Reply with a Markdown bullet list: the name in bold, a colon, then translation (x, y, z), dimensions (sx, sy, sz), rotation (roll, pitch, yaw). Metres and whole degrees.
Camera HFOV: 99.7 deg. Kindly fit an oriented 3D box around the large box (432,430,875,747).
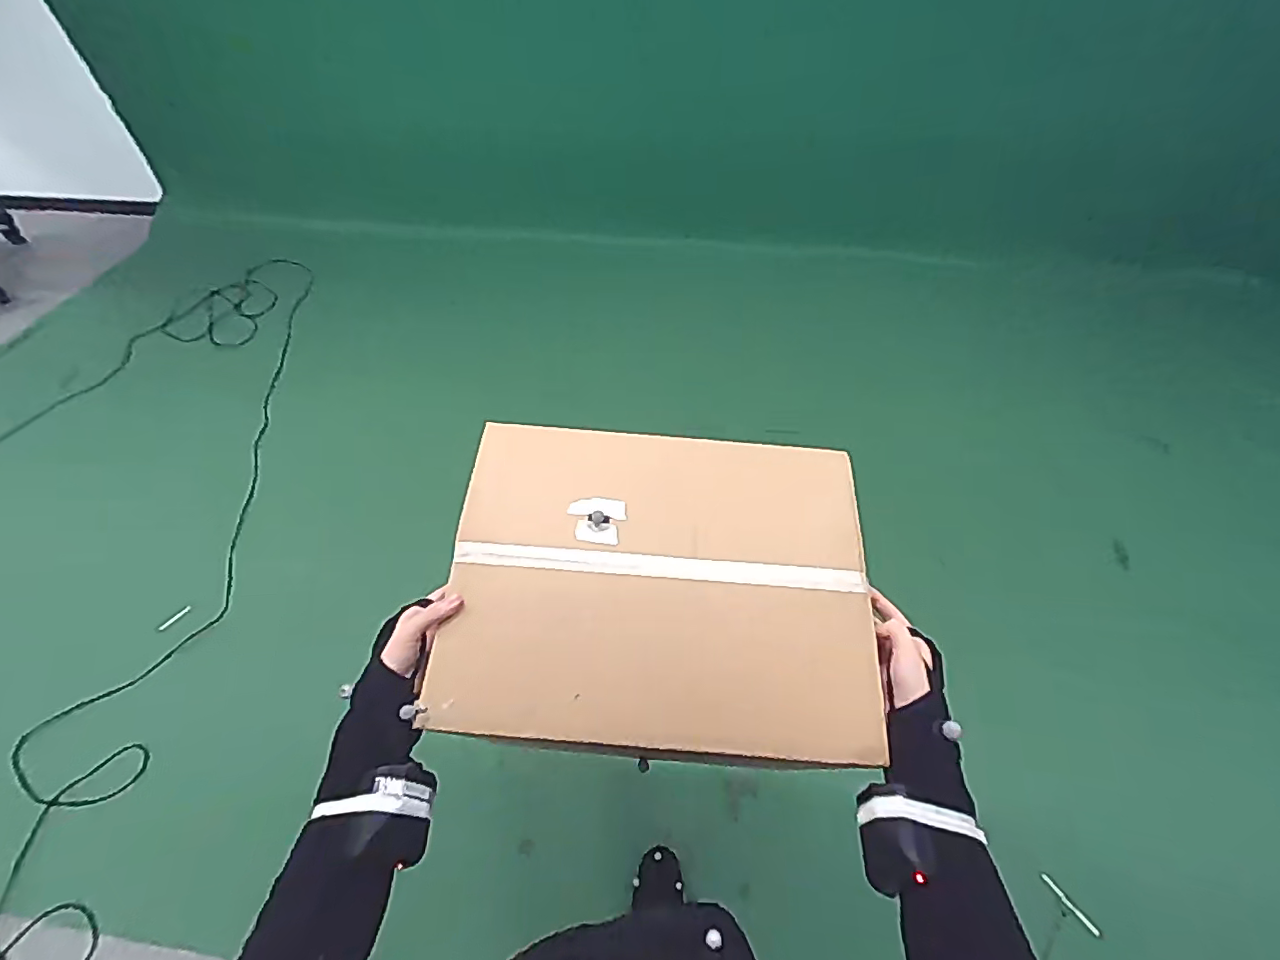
- **large box**: translation (0.019, 0.155, 0.679), dimensions (0.408, 0.320, 0.320), rotation (4, 62, 1)
